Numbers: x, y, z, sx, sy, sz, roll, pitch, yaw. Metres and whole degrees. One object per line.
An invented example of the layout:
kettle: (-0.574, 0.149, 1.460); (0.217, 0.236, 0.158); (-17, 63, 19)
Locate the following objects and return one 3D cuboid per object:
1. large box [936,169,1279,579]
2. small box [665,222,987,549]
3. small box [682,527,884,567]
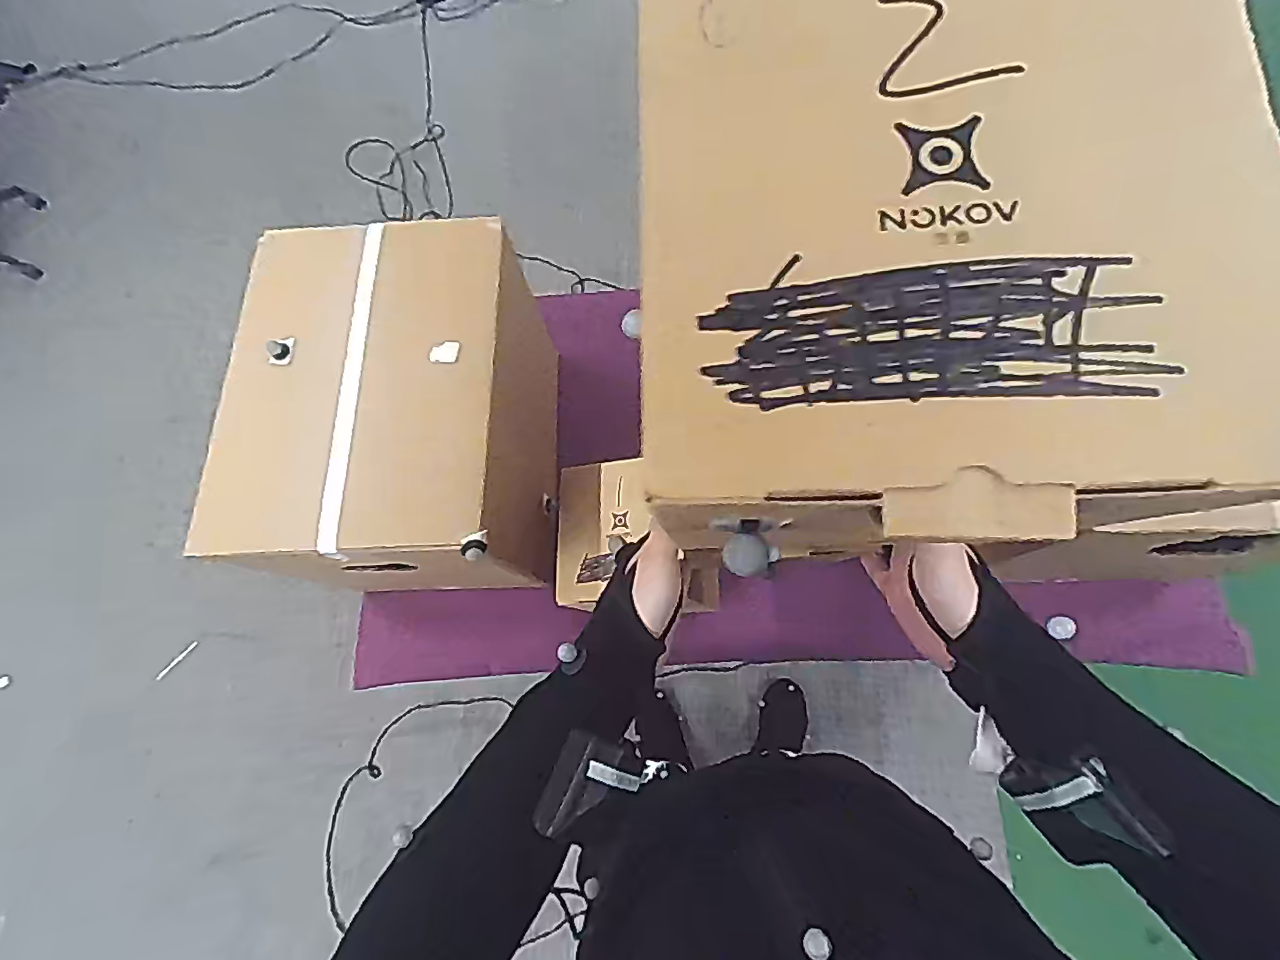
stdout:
large box: (0.566, -0.098, 0.673); (0.320, 0.320, 0.408); (-2, 72, 5)
small box: (0.104, -0.047, 0.383); (0.168, 0.176, 0.179); (-4, 80, 5)
small box: (0.122, -0.008, 0.540); (0.168, 0.176, 0.179); (-5, 78, 6)
